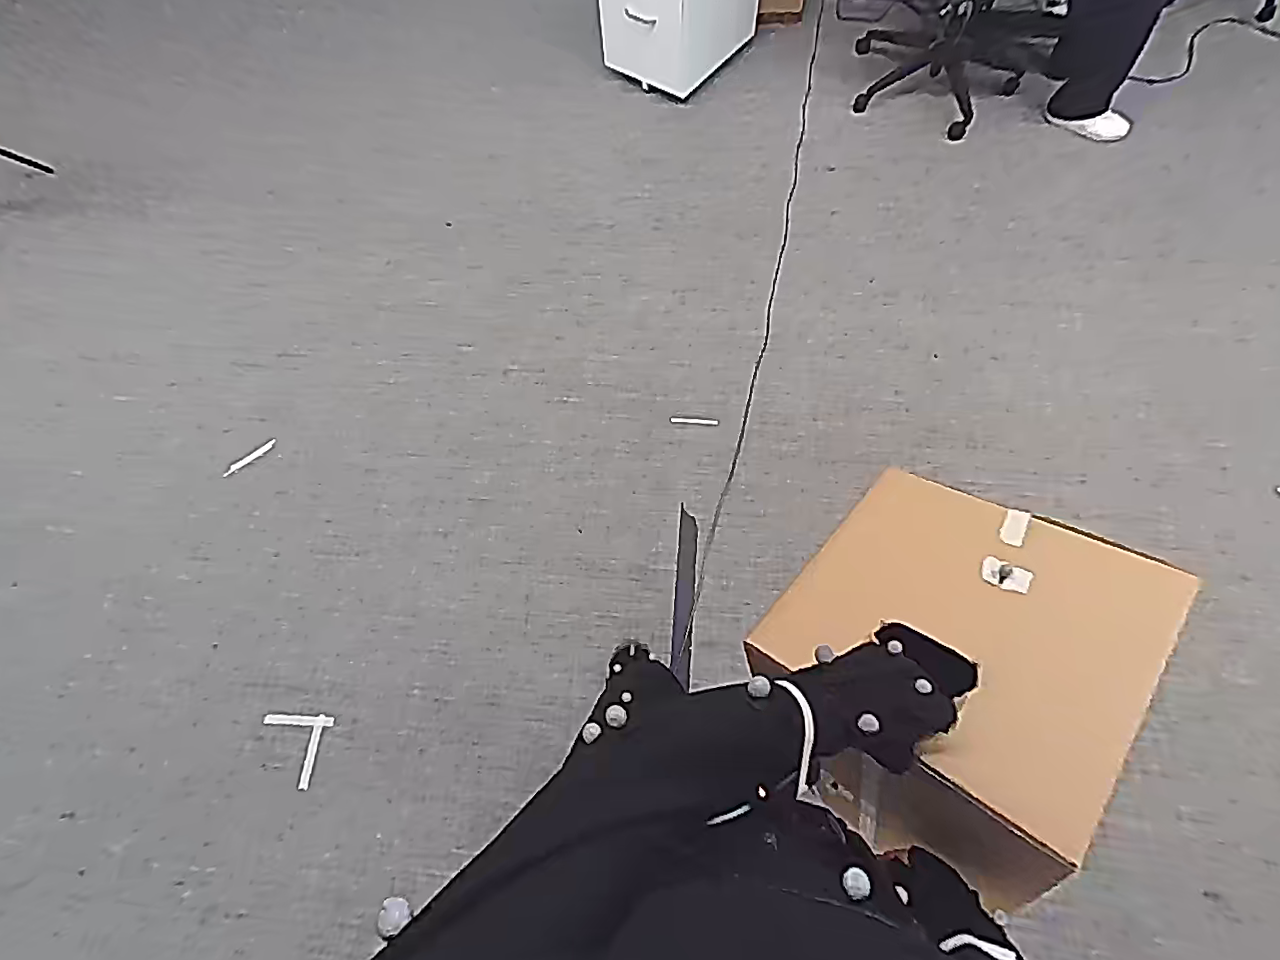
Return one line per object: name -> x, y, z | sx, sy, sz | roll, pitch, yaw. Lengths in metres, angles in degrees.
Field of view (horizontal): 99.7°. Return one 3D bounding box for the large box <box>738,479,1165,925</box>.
large box -> 0.372, 0.271, 0.694 | 0.320, 0.408, 0.320 | -43, 46, -20
